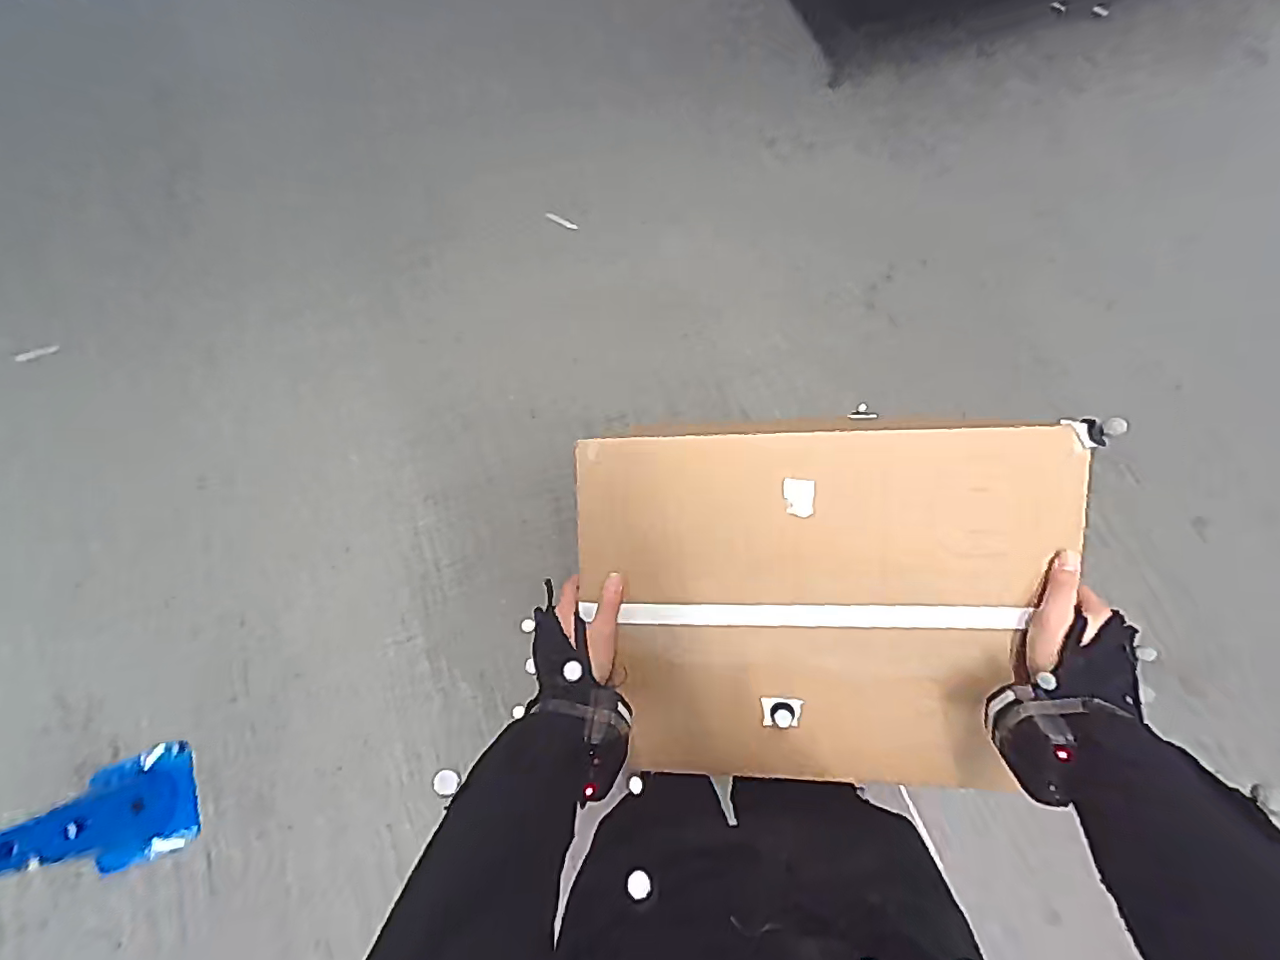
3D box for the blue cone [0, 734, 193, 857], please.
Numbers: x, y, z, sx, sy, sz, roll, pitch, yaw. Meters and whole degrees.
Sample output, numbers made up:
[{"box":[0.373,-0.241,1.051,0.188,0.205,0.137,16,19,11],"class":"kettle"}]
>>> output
[{"box":[-1.013,0.593,0.948,0.193,0.380,0.192,-18,72,-6],"class":"blue cone"}]
